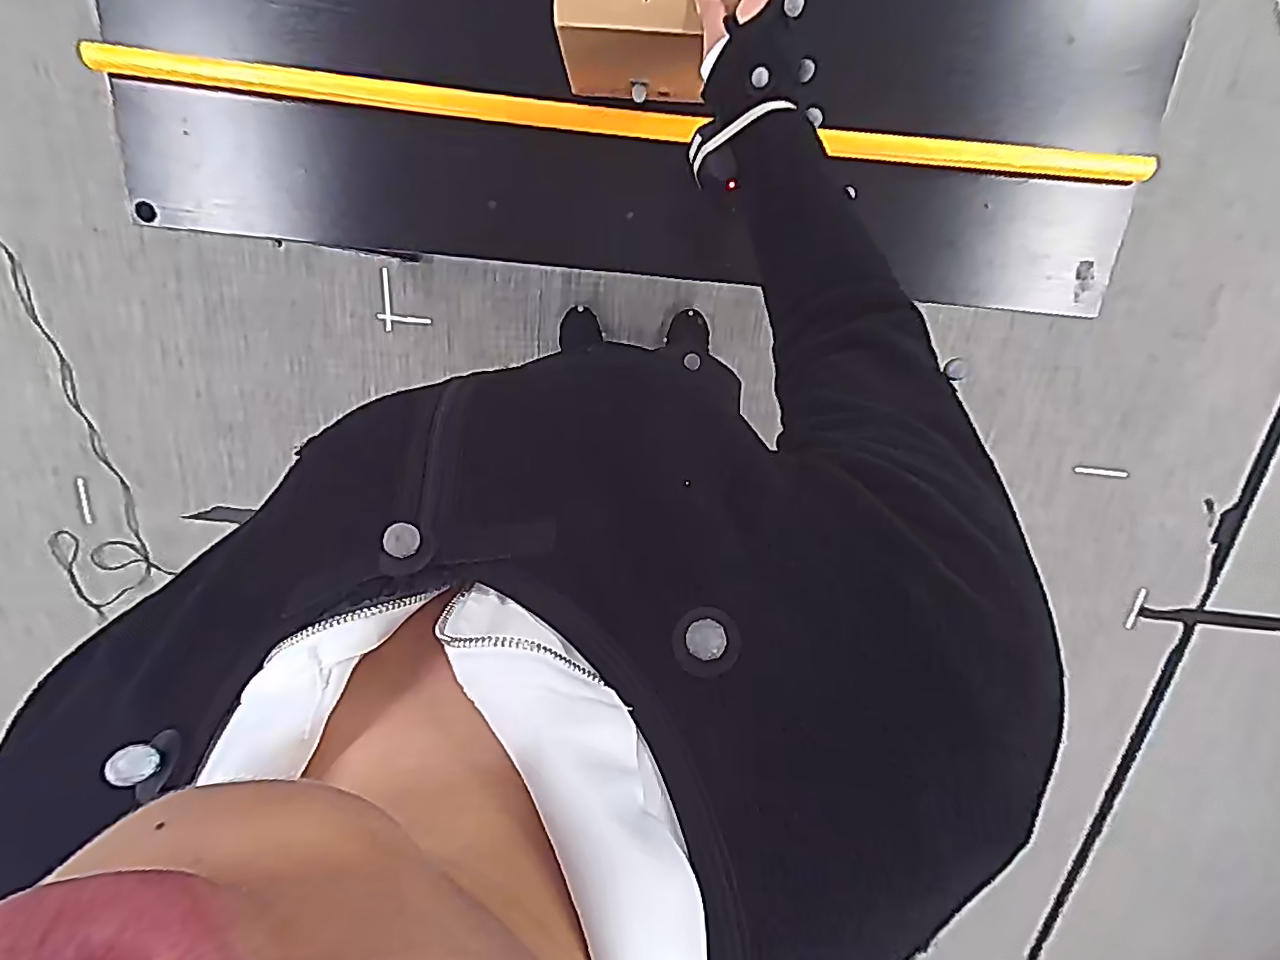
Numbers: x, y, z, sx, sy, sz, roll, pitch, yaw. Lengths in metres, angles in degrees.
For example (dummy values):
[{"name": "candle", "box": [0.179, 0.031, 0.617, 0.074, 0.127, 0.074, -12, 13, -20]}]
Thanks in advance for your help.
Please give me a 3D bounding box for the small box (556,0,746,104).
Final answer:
[{"name": "small box", "box": [0.013, -0.498, 0.520, 0.168, 0.176, 0.179, 3, 108, -1]}]
